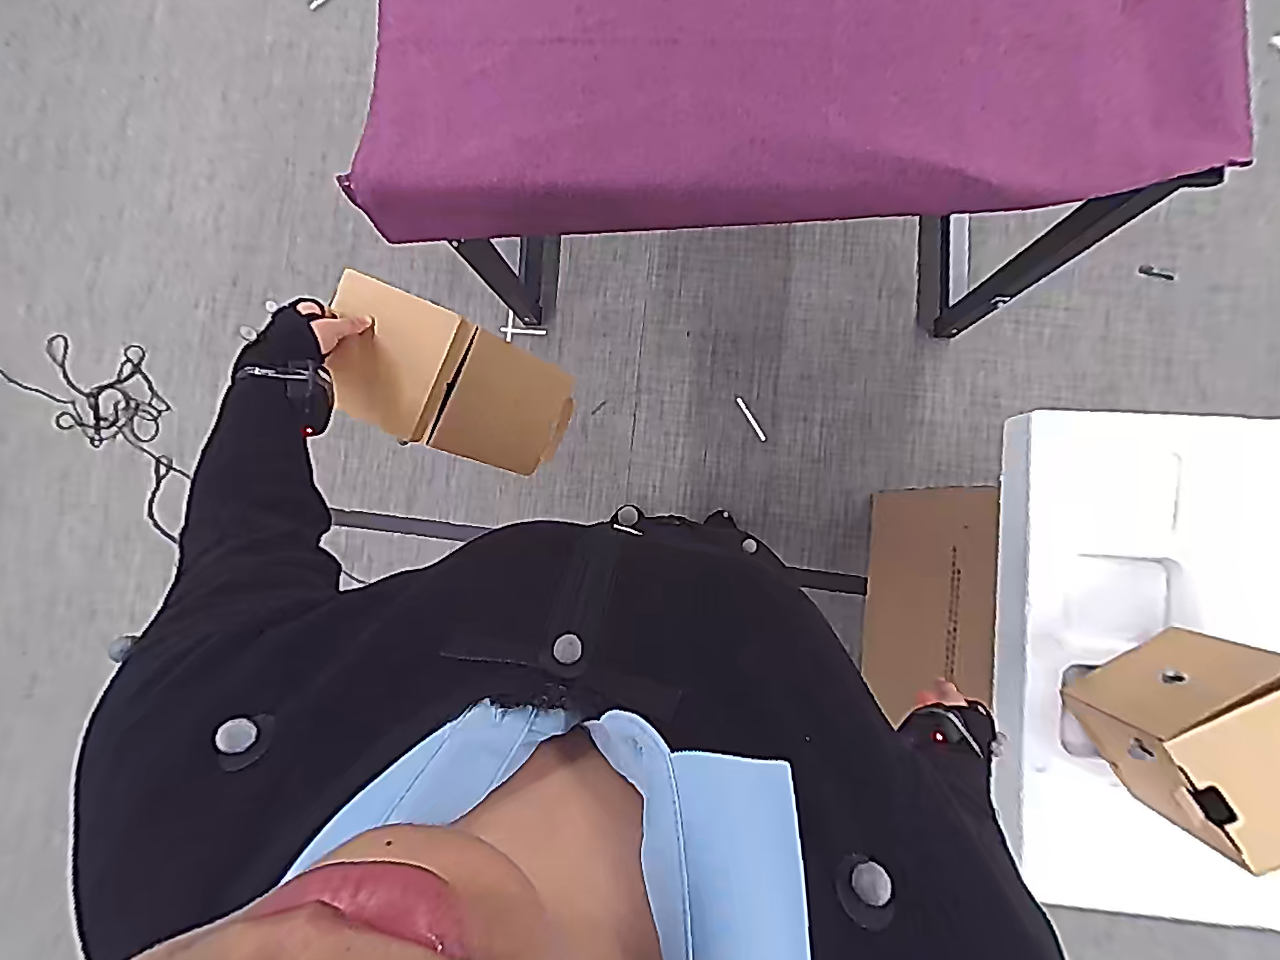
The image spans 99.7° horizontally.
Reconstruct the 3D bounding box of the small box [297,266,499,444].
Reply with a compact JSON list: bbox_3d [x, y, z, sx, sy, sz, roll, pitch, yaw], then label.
[{"bbox_3d":[-0.315,-0.161,0.746,0.179,0.176,0.168,24,92,-5],"label":"small box"}]
